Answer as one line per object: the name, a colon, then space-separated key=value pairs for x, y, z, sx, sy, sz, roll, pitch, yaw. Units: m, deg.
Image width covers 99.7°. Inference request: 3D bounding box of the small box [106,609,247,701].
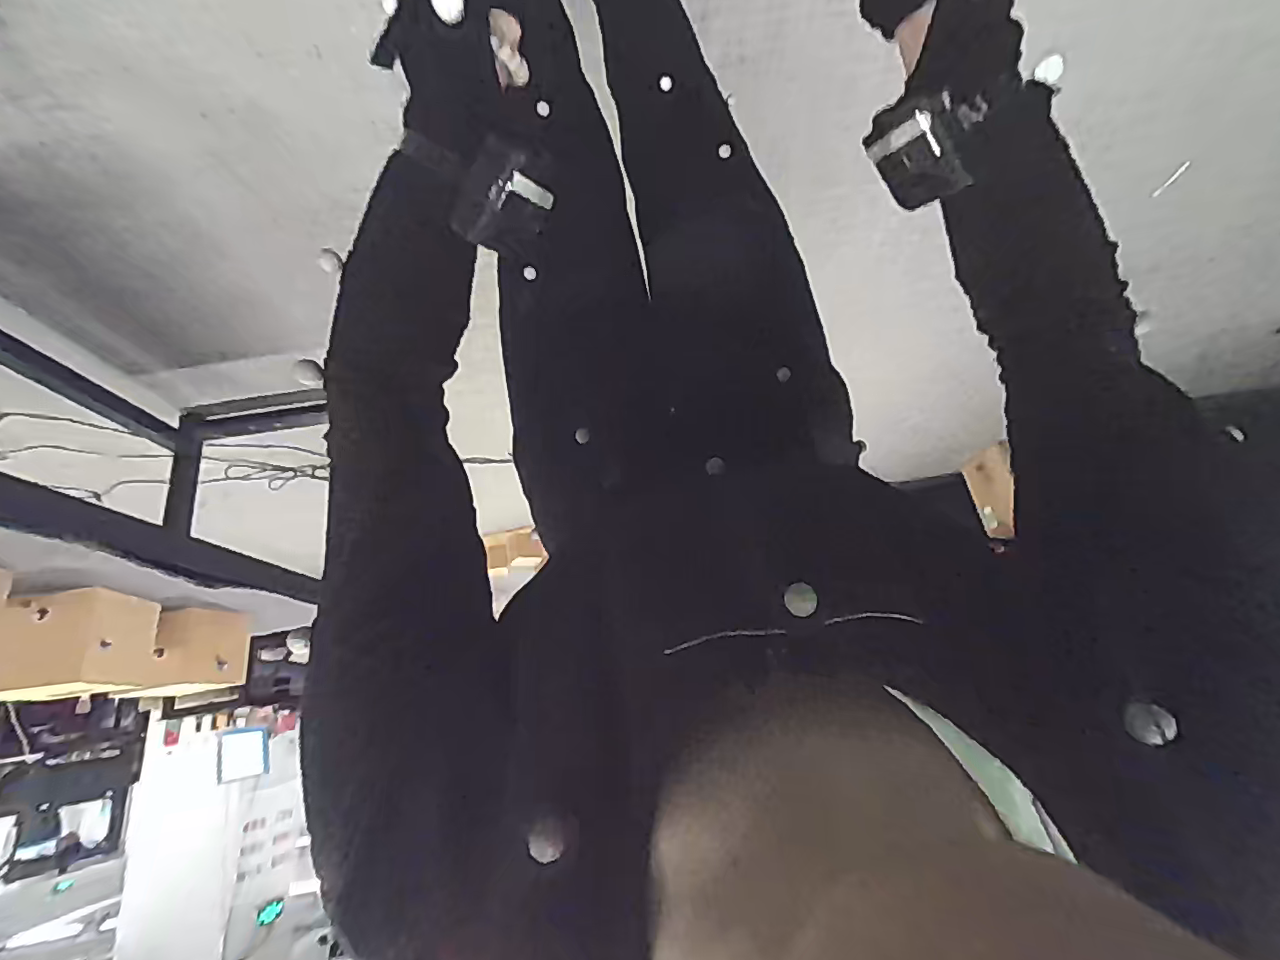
small box: x=-1.039 y=0.395 z=1.228 sx=0.168 sy=0.176 sz=0.179 roll=-11 pitch=159 yaw=2
